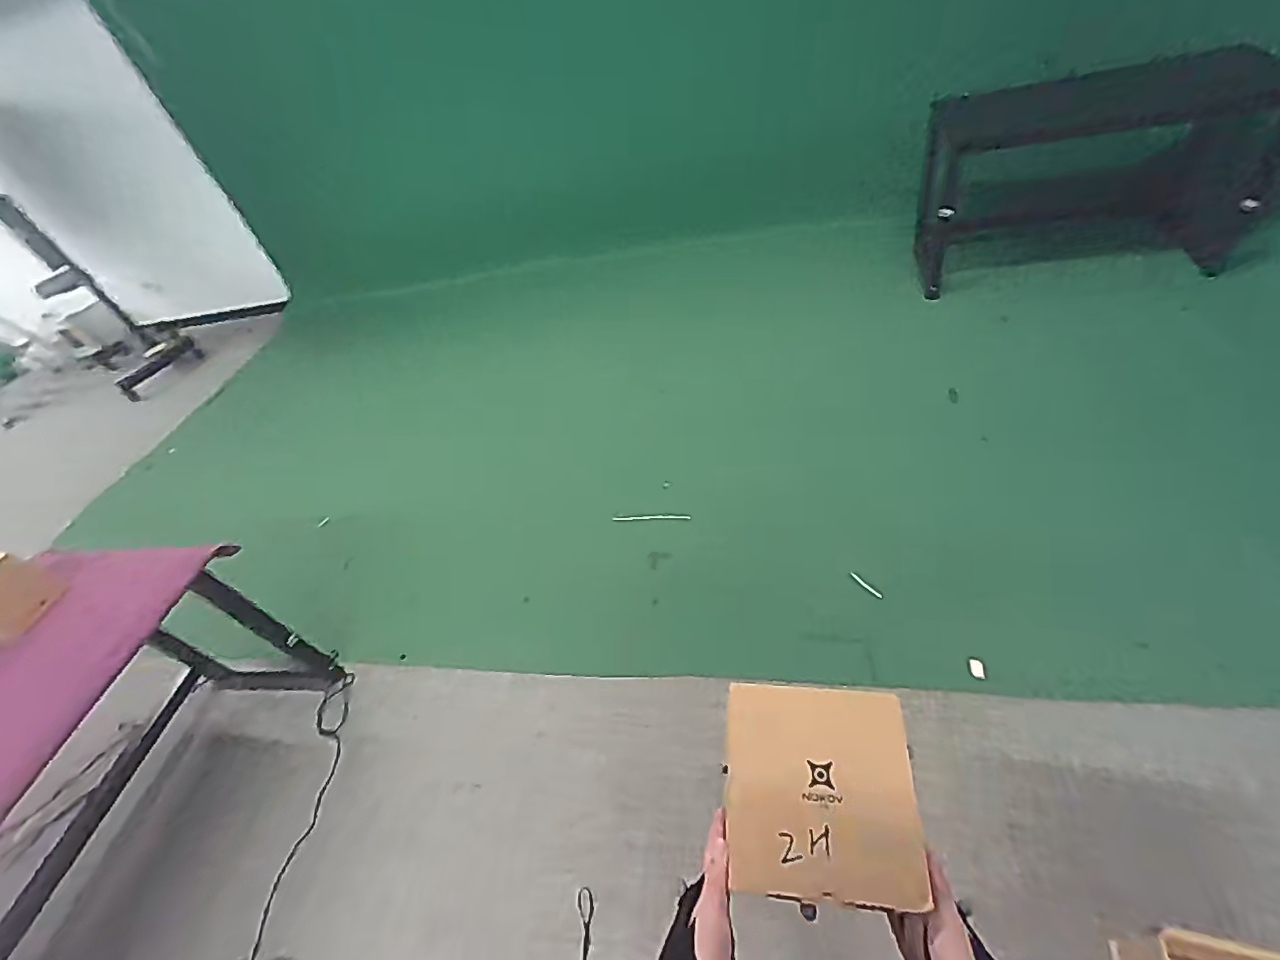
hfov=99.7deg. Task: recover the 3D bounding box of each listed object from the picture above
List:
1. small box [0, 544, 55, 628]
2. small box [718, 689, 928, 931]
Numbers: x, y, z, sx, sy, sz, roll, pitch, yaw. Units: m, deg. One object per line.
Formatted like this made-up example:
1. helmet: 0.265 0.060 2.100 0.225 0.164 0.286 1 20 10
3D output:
1. small box: -1.674 0.265 1.363 0.179 0.176 0.168 -1 49 14
2. small box: 0.168 0.335 0.558 0.168 0.176 0.179 2 55 8
